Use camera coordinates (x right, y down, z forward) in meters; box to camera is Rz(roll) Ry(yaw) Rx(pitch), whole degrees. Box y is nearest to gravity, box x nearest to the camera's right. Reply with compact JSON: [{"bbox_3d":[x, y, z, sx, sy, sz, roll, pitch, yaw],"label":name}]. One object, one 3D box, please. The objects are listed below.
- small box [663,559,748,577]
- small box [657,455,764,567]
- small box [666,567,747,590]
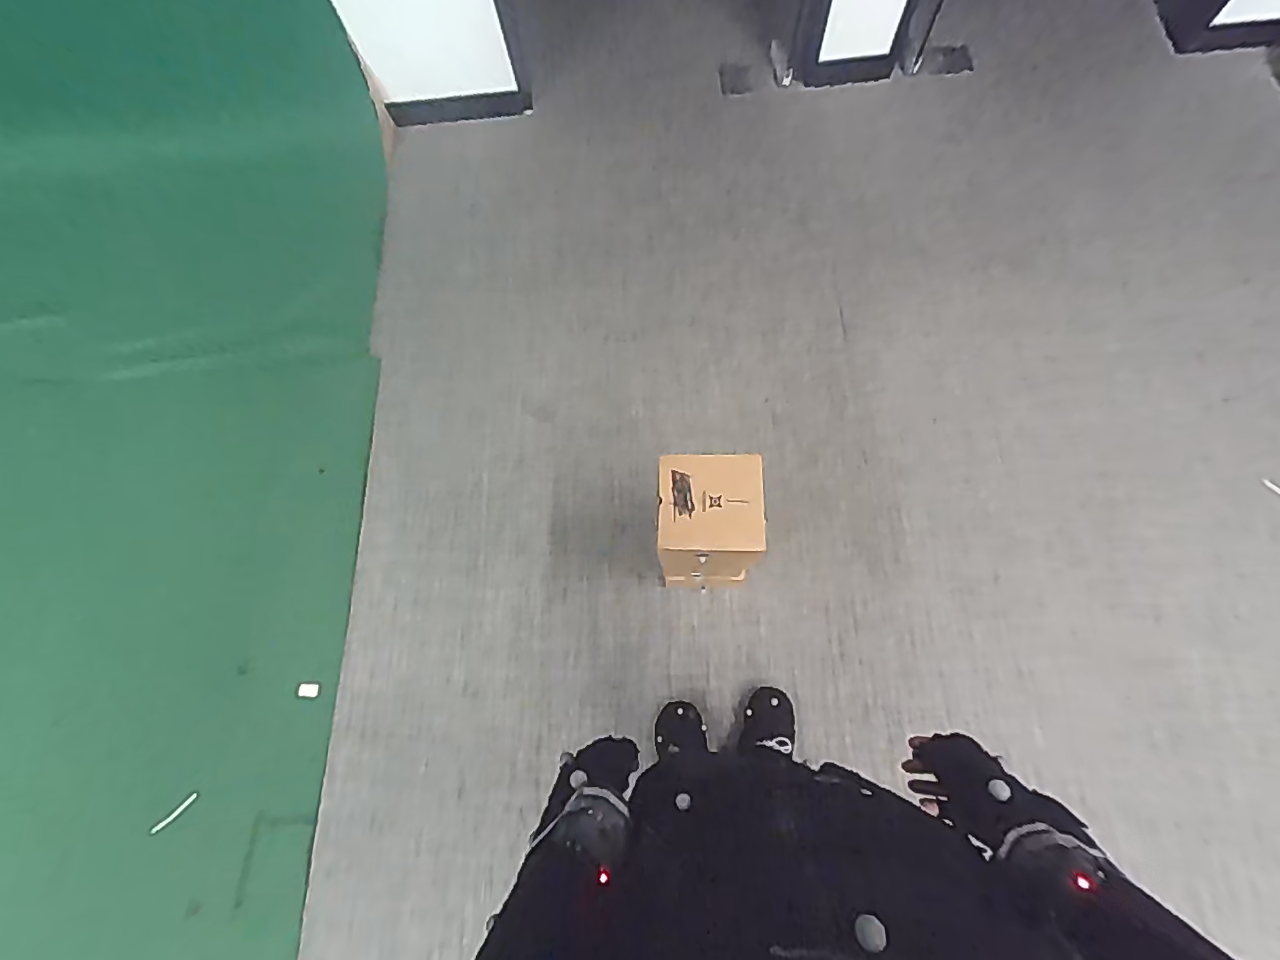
[{"bbox_3d":[0.133,0.105,1.131,0.168,0.176,0.179,-2,73,5],"label":"small box"},{"bbox_3d":[0.124,0.062,0.972,0.179,0.176,0.168,0,72,5],"label":"small box"},{"bbox_3d":[0.151,0.166,1.281,0.179,0.176,0.168,-1,72,4],"label":"small box"}]
